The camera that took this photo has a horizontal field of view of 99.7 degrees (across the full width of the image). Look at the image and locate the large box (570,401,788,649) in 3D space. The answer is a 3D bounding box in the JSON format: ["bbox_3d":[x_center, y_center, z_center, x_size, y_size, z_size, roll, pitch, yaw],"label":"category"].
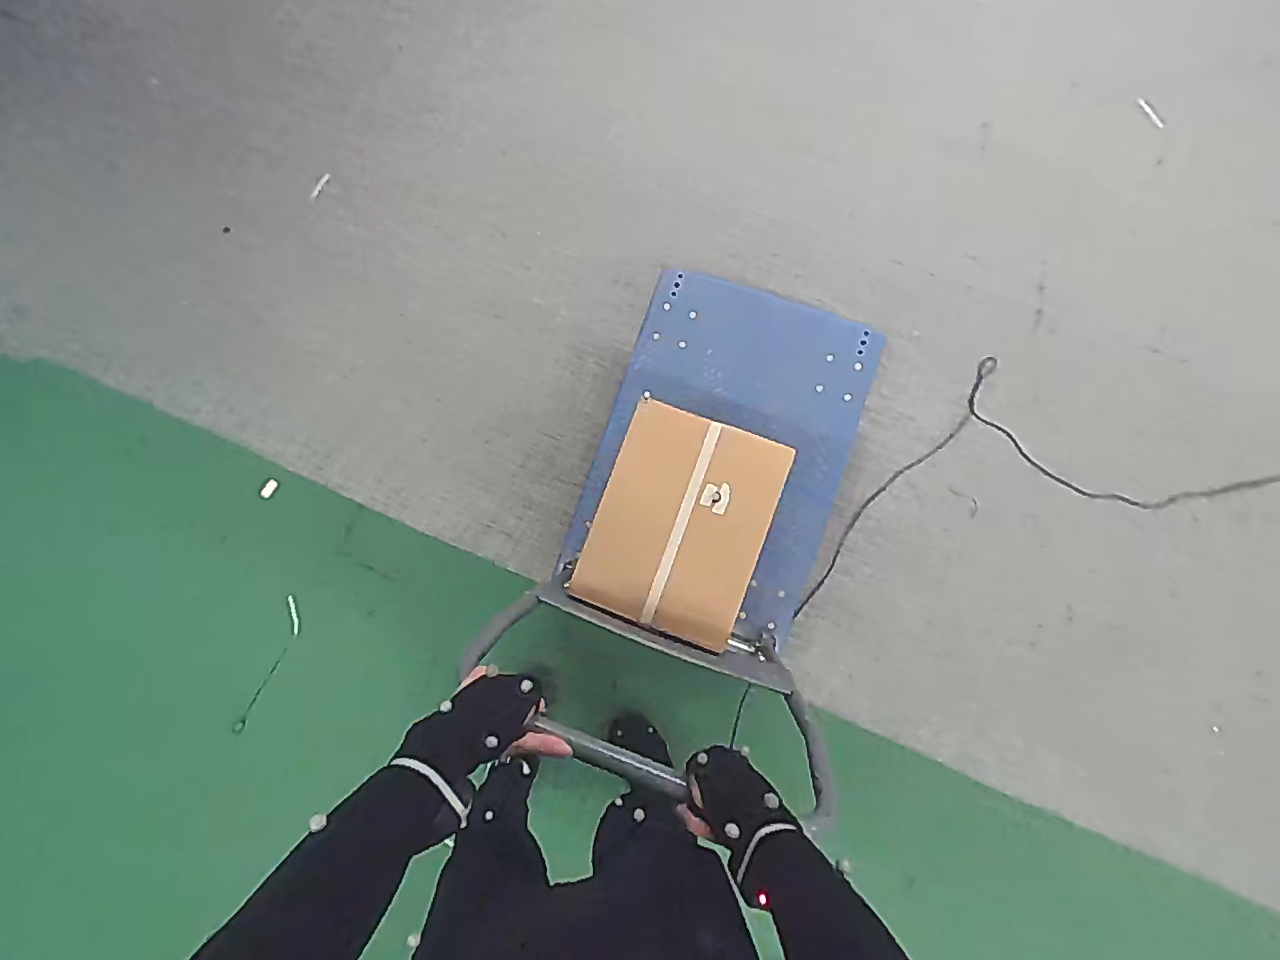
[{"bbox_3d":[0.084,0.097,1.170,0.320,0.320,0.408,20,85,5],"label":"large box"}]
